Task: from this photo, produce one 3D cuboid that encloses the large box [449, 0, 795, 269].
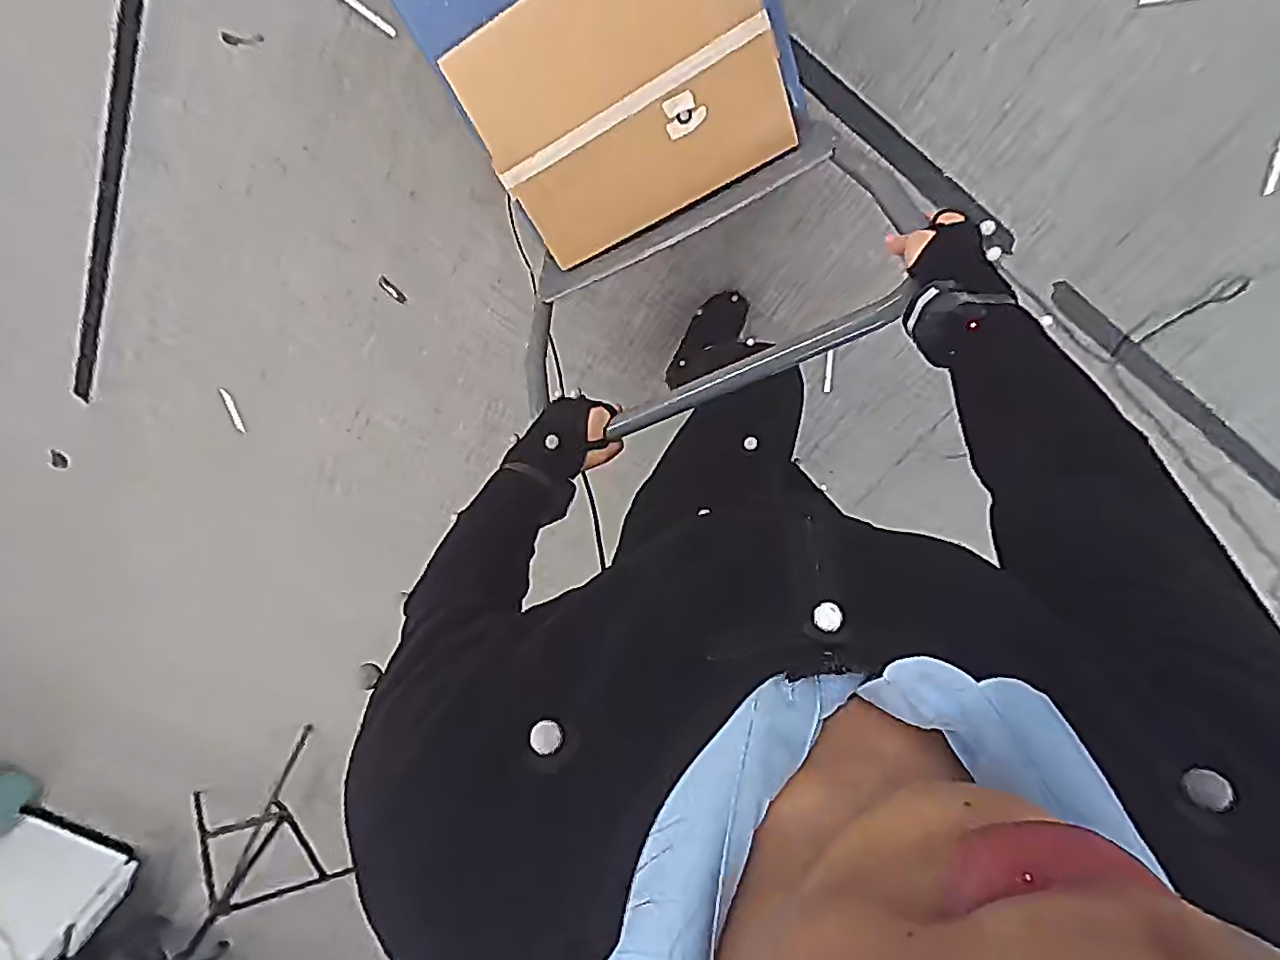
[{"bbox_3d":[-0.022,-0.616,0.867,0.408,0.320,0.320,-23,128,16],"label":"large box"}]
